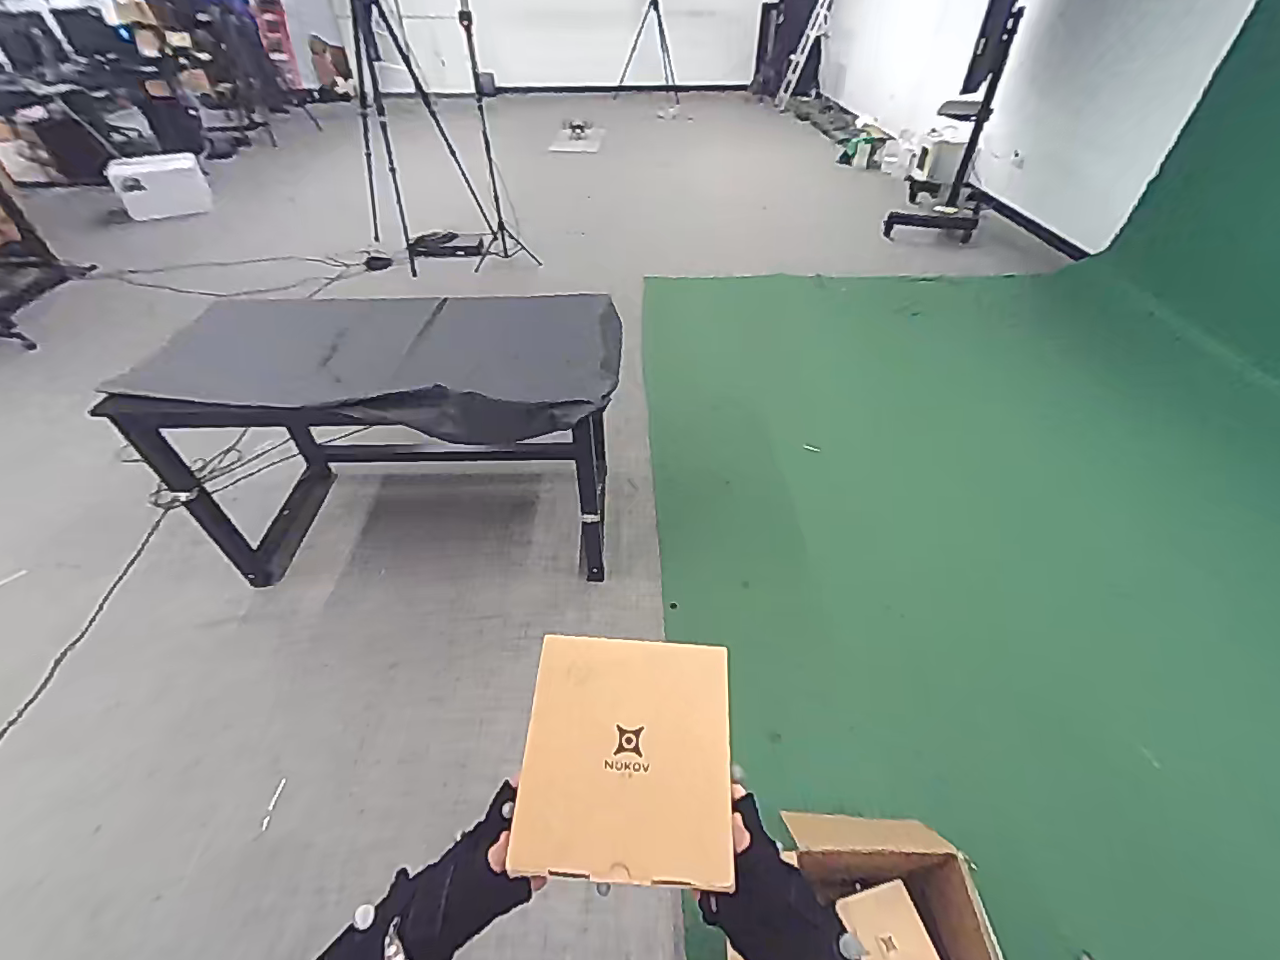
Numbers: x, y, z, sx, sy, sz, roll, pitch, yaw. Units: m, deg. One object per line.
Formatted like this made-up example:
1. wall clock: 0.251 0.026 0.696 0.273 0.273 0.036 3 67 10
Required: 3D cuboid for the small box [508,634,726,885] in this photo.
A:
1. small box: -0.016 0.263 0.510 0.168 0.176 0.179 5 56 0
